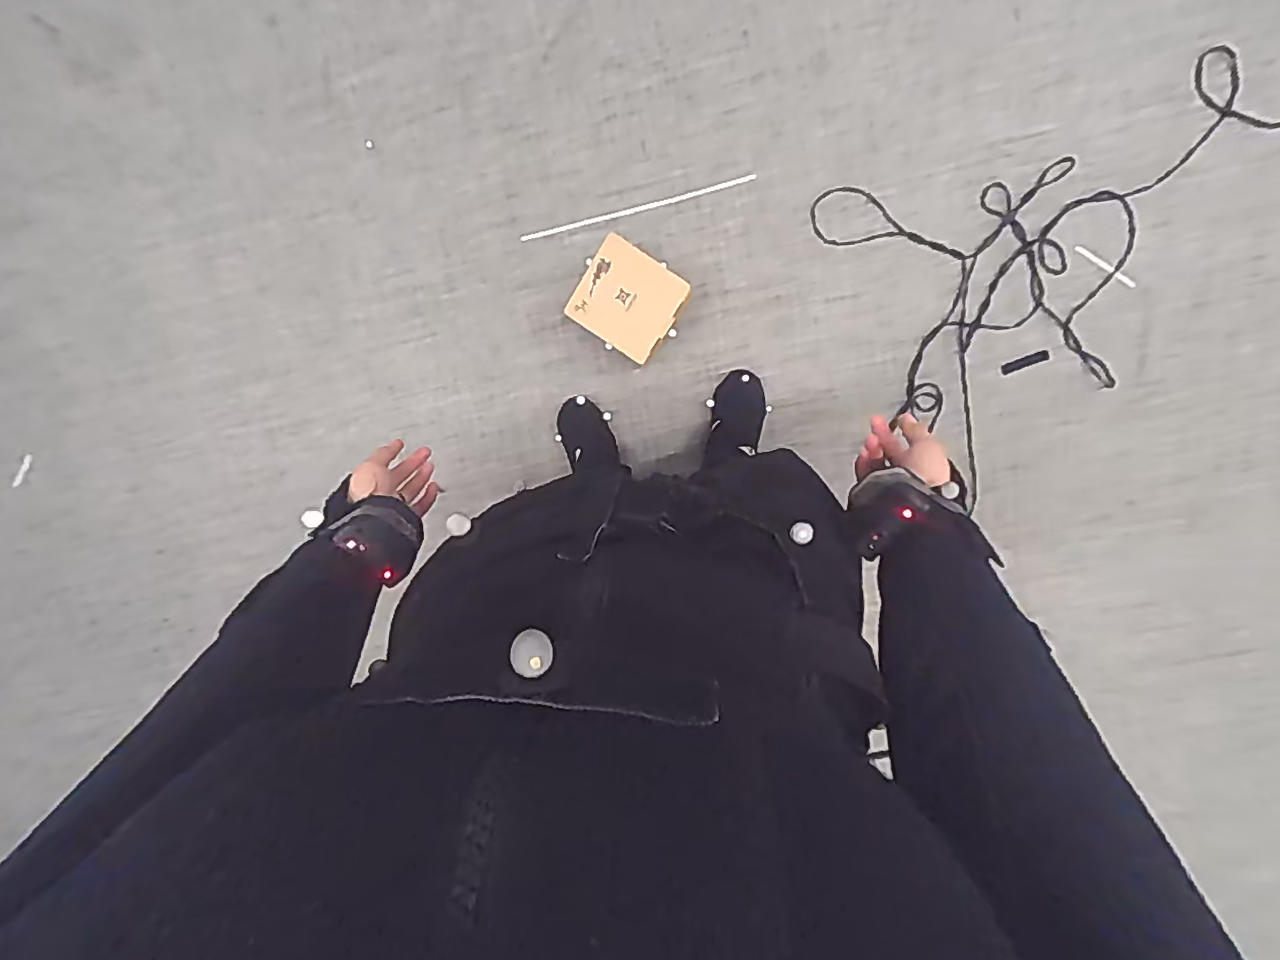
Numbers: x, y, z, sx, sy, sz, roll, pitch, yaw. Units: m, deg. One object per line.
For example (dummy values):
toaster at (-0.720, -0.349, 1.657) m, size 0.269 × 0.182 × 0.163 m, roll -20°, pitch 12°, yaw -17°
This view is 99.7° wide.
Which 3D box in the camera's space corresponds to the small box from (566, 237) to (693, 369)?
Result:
small box at (-0.014, -0.335, 1.048) m, size 0.179 × 0.176 × 0.168 m, roll 33°, pitch 103°, yaw -4°
